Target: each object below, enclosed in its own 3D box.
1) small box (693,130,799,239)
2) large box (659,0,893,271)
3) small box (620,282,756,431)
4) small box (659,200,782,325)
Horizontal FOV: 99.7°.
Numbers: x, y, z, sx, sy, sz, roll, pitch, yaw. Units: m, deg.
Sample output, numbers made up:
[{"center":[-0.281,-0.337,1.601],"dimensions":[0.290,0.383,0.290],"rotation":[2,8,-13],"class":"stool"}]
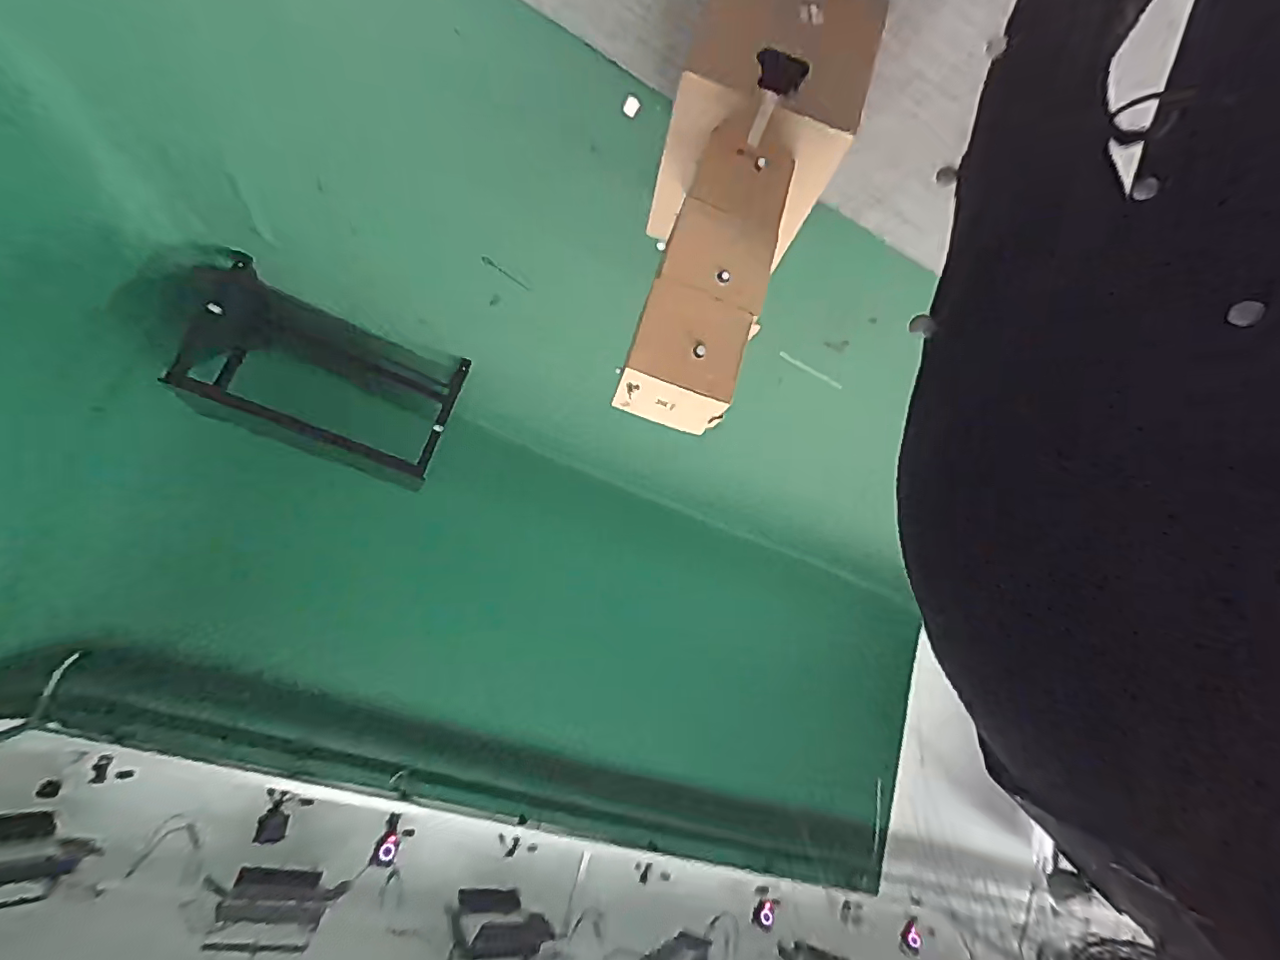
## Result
[{"center":[0.182,-0.504,1.021],"dimensions":[0.168,0.176,0.179],"rotation":[18,164,-6],"class":"small box"},{"center":[0.252,-0.721,1.114],"dimensions":[0.320,0.320,0.408],"rotation":[20,165,-2],"class":"large box"},{"center":[0.081,-0.207,0.925],"dimensions":[0.179,0.176,0.168],"rotation":[18,164,-7],"class":"small box"},{"center":[0.132,-0.358,0.966],"dimensions":[0.179,0.176,0.168],"rotation":[19,164,-8],"class":"small box"}]
